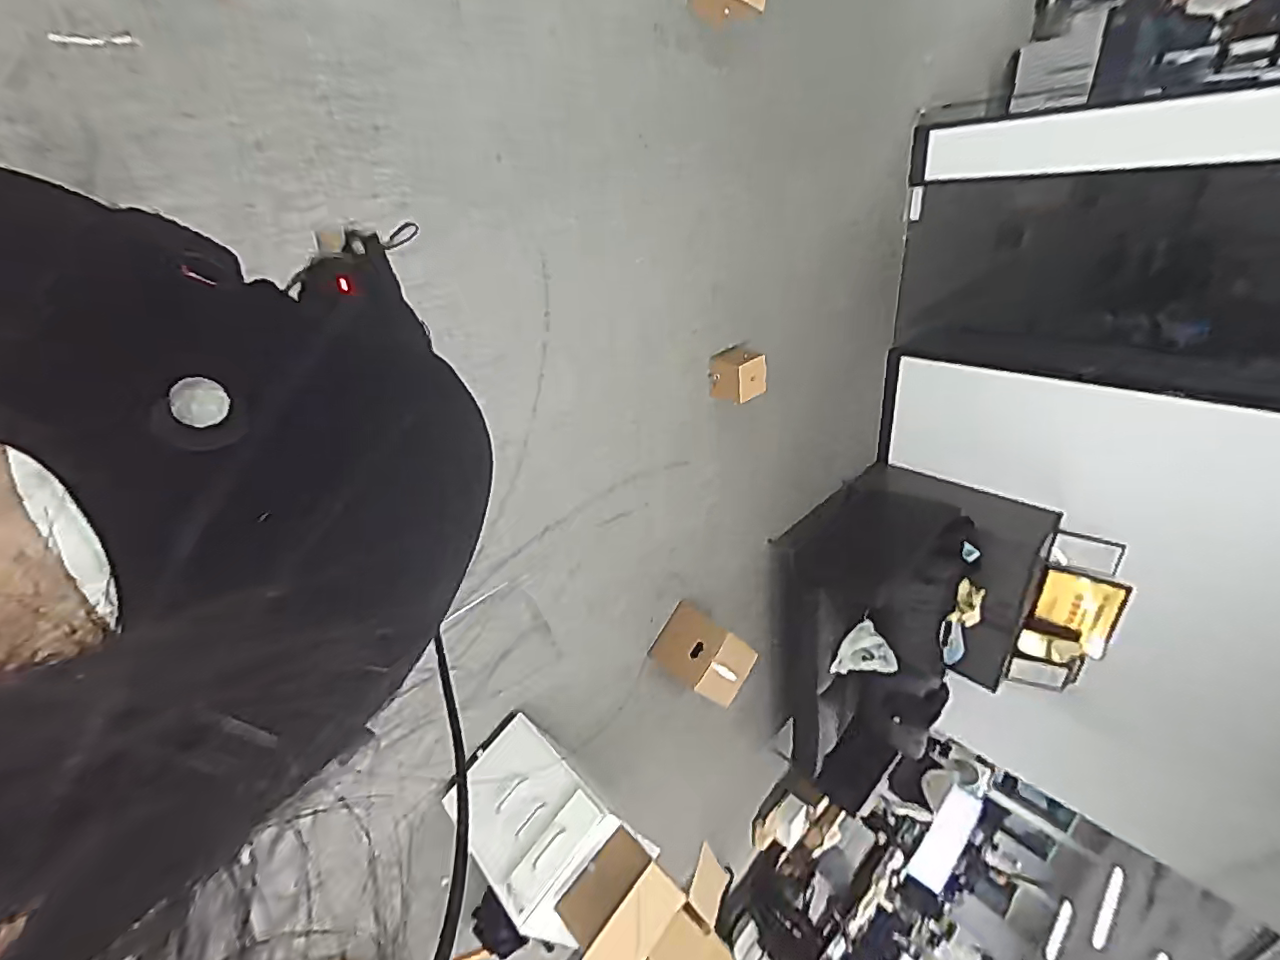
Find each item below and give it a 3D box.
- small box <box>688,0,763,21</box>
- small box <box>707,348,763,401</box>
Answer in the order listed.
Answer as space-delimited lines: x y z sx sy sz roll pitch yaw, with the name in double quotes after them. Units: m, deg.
0.265 -1.545 1.653 0.179 0.176 0.168 -18 121 -39 "small box"
0.408 -0.460 2.325 0.179 0.176 0.168 -30 126 -31 "small box"
